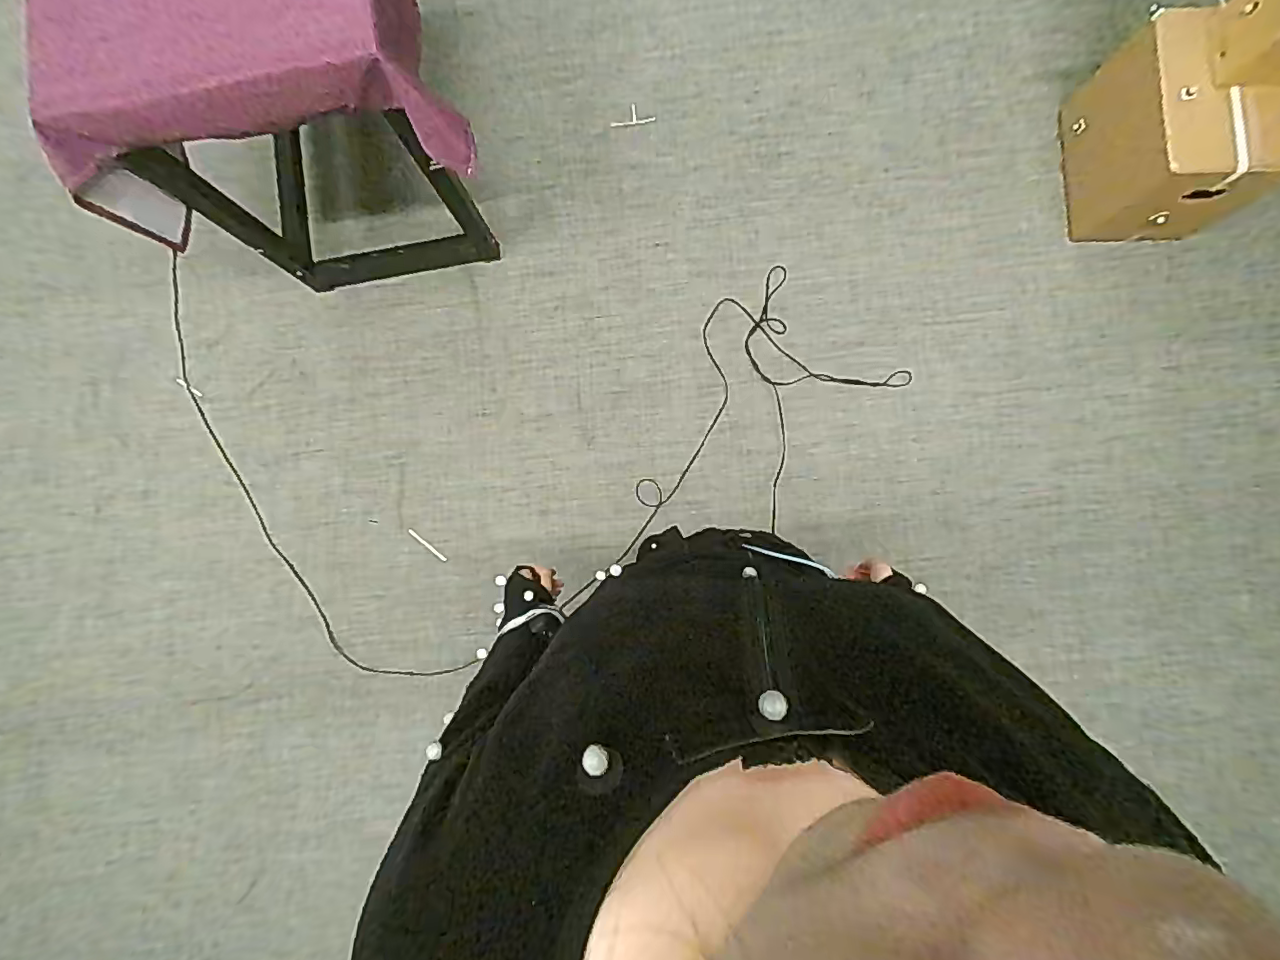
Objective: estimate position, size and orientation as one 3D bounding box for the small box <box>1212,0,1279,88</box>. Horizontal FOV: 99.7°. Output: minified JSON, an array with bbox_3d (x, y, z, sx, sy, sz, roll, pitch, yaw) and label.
[{"bbox_3d":[1.395,-0.982,1.163,0.179,0.176,0.168,0,85,1],"label":"small box"}]
